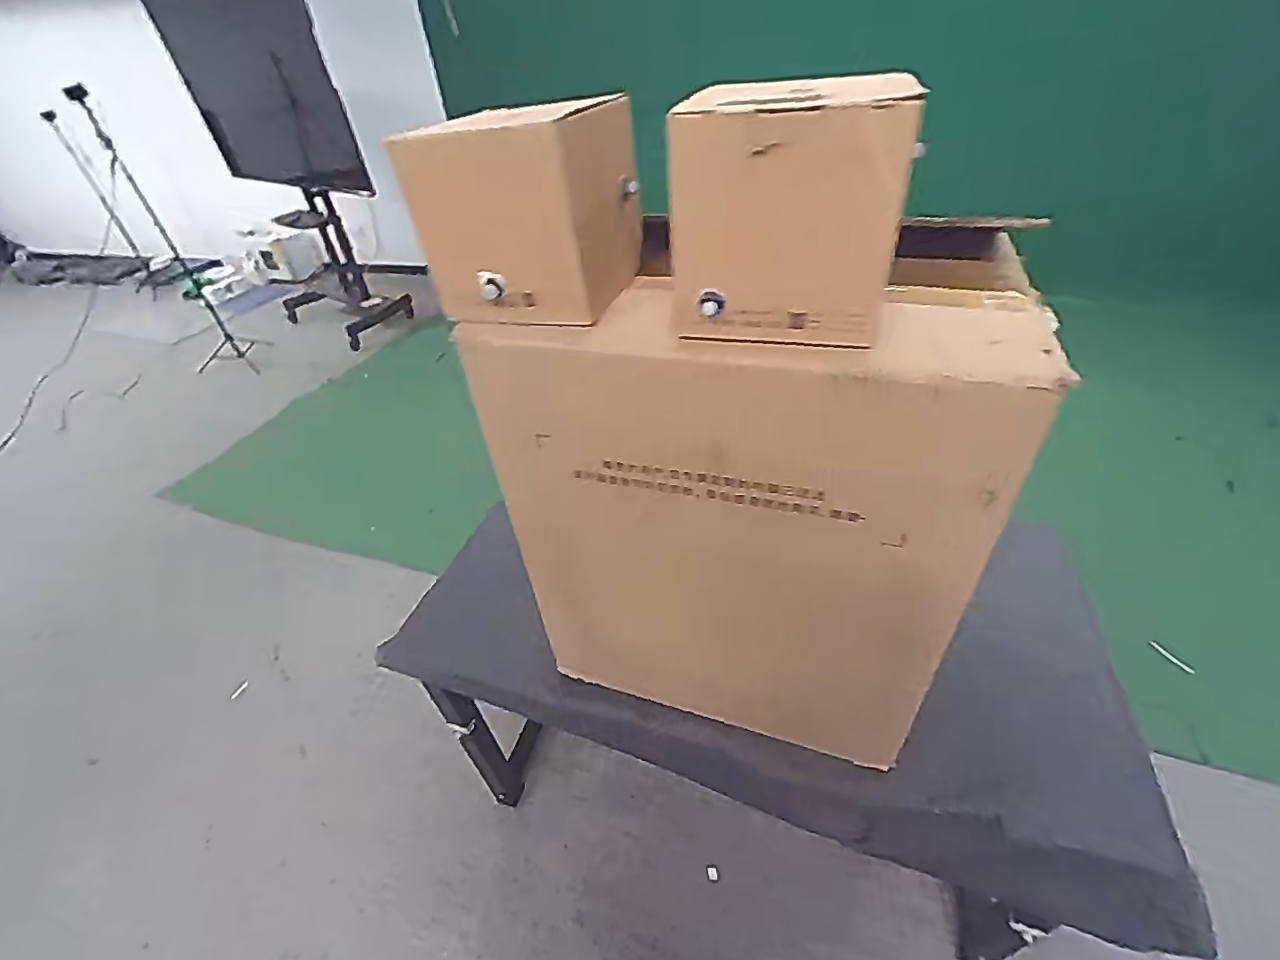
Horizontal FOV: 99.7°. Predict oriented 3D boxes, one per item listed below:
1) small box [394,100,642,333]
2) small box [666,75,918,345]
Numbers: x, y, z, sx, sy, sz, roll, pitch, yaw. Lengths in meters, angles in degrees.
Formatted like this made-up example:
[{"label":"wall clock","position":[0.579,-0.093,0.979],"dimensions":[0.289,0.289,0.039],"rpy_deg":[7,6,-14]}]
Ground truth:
[{"label":"small box","position":[-0.102,-0.266,0.549],"dimensions":[0.168,0.176,0.179],"rpy_deg":[6,42,19]},{"label":"small box","position":[0.128,-0.229,0.464],"dimensions":[0.168,0.176,0.179],"rpy_deg":[8,41,16]}]
